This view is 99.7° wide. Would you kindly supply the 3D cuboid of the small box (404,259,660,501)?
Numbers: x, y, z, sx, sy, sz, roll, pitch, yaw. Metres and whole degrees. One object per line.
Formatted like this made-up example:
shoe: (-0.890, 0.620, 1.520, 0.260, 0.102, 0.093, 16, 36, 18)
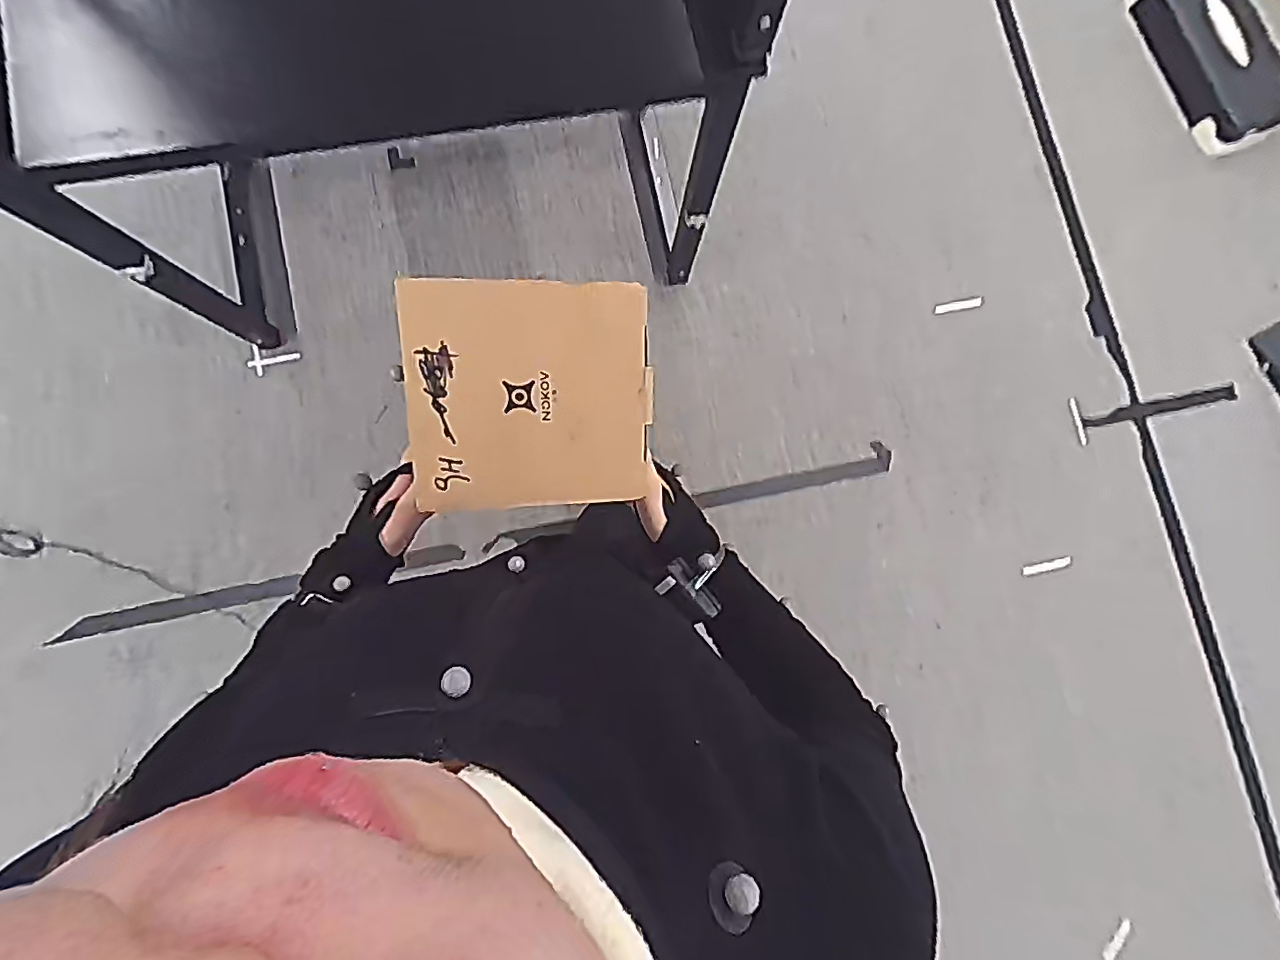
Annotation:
small box: (-0.089, -0.084, 0.462, 0.179, 0.176, 0.168, -3, 102, -13)
